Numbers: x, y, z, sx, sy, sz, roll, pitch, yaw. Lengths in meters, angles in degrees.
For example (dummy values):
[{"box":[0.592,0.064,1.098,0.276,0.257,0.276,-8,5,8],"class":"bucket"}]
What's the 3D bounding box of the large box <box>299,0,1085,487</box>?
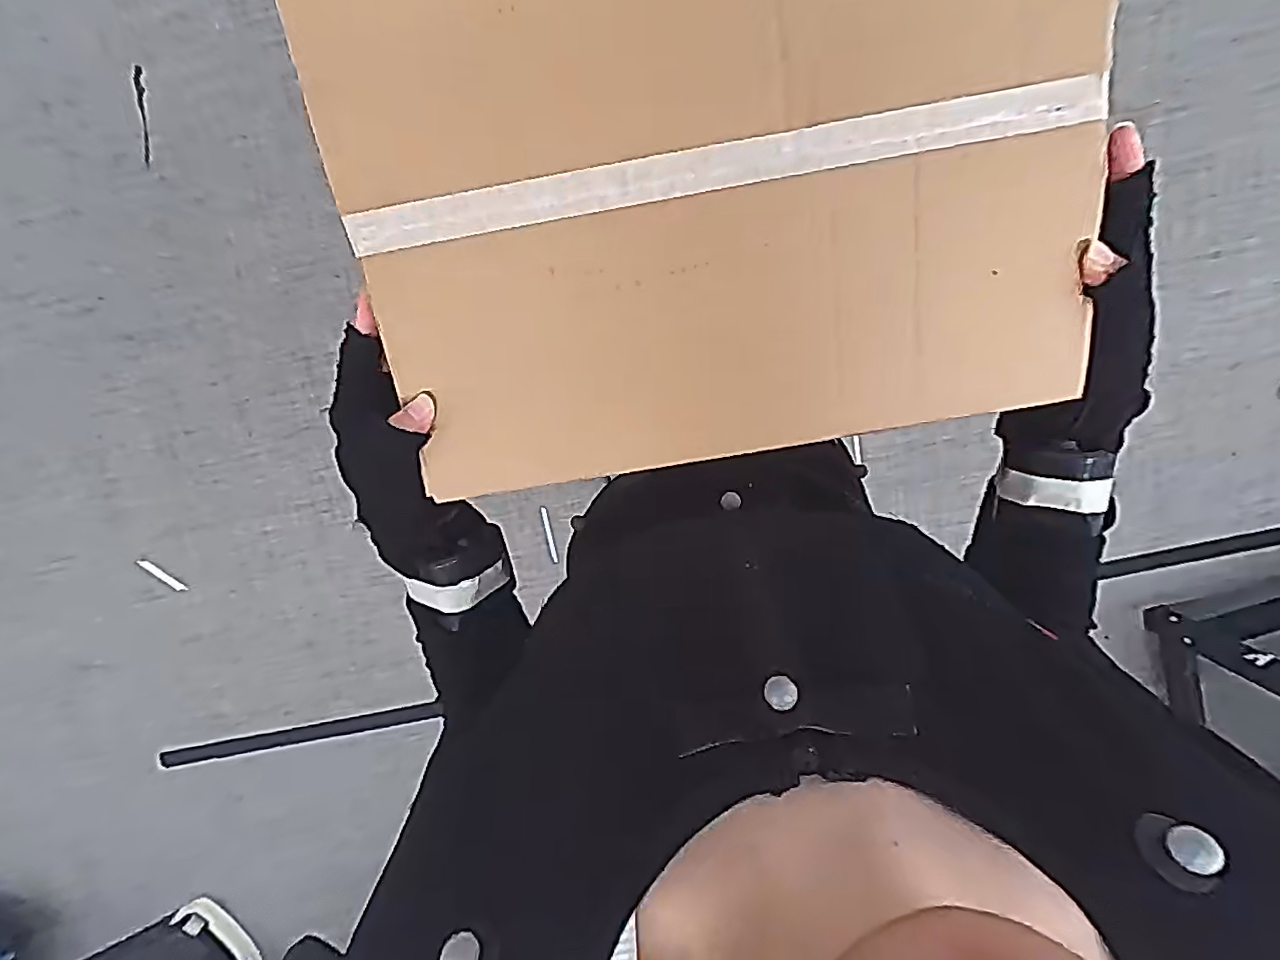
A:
[{"box":[0.037,-0.214,0.444,0.408,0.320,0.320,-10,108,2],"class":"large box"}]
